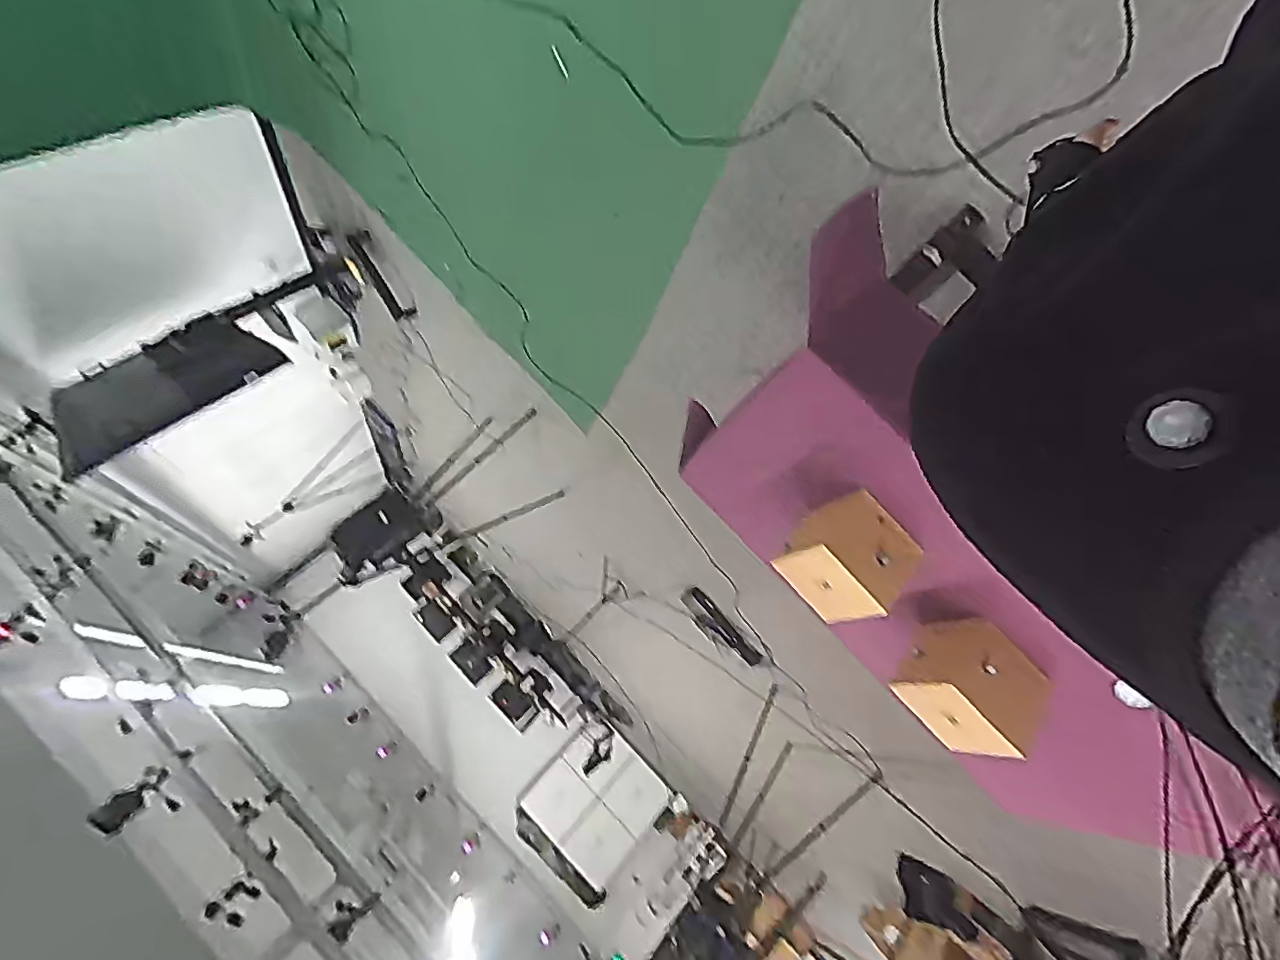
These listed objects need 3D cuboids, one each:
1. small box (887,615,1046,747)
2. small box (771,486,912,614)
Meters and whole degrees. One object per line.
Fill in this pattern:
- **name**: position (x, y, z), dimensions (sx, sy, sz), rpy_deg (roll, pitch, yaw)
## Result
- **small box**: position (0.629, 0.378, 1.045), dimensions (0.179, 0.176, 0.168), rpy_deg (46, 153, 2)
- **small box**: position (0.398, 0.136, 1.055), dimensions (0.168, 0.176, 0.179), rpy_deg (47, 153, 1)
